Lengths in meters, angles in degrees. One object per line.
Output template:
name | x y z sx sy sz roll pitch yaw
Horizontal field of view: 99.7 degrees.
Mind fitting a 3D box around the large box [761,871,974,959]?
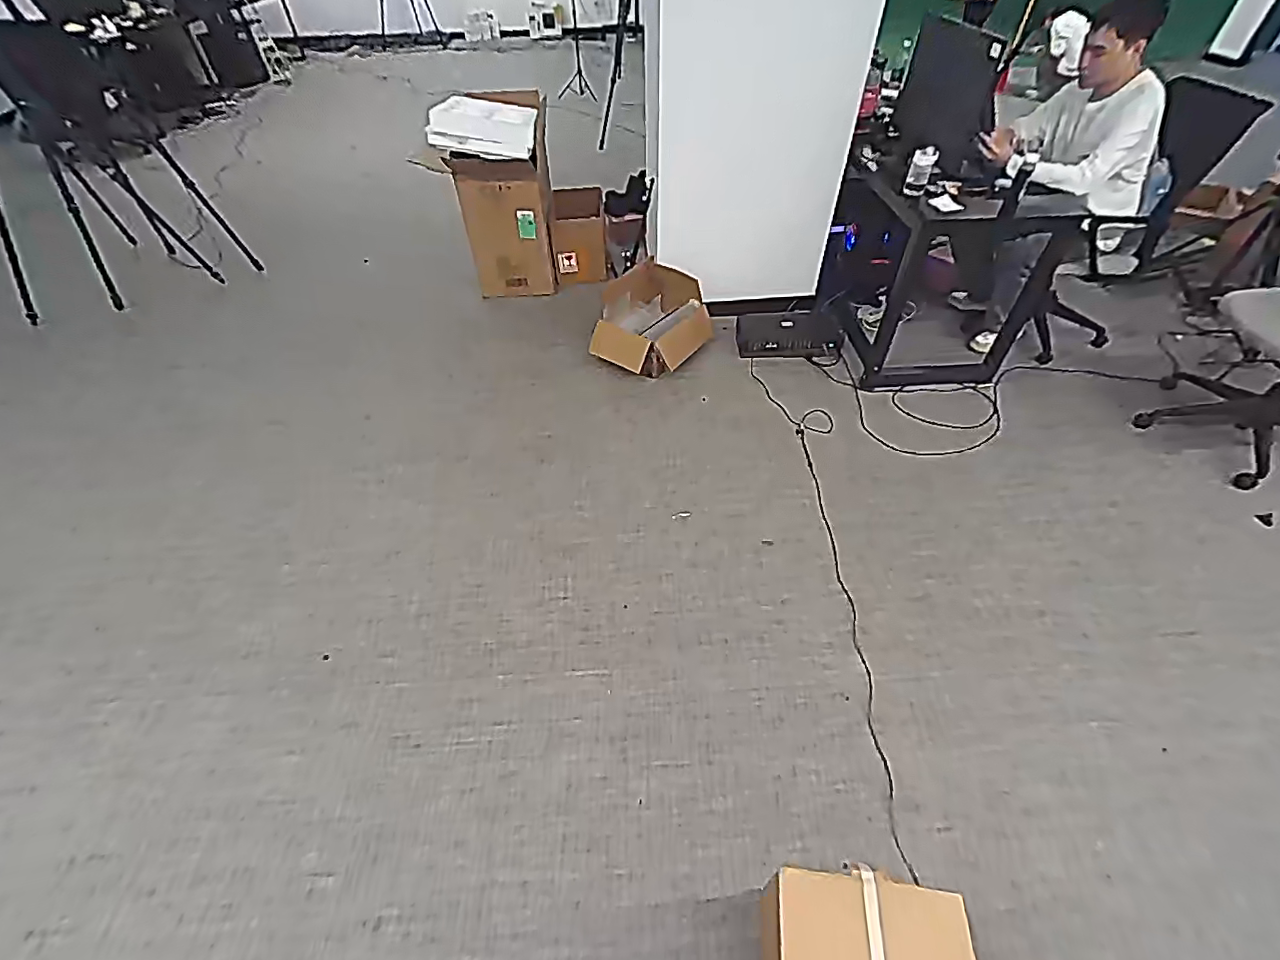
large box | 0.390 0.964 0.946 0.320 0.320 0.408 4 49 8
